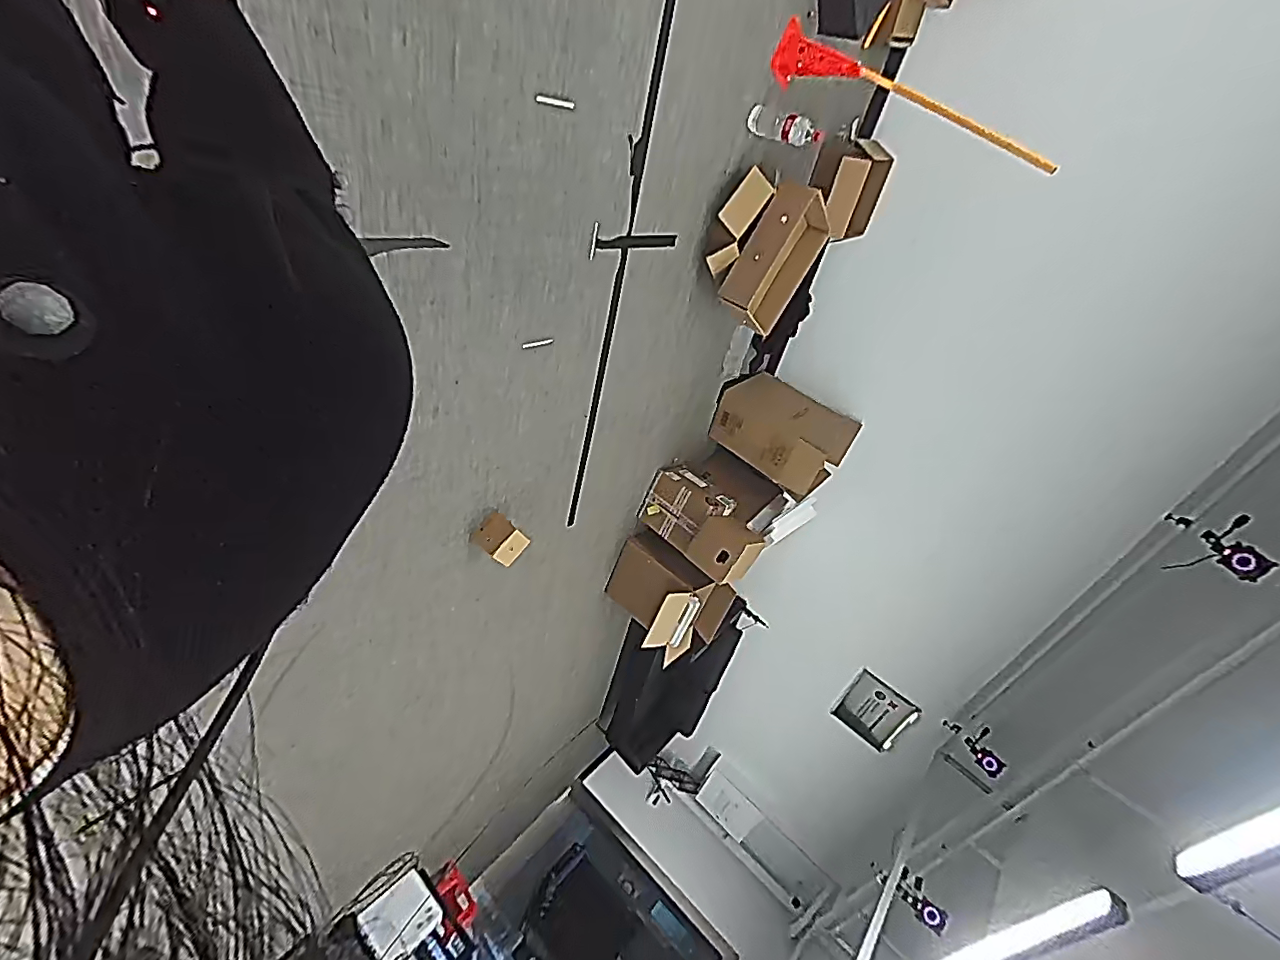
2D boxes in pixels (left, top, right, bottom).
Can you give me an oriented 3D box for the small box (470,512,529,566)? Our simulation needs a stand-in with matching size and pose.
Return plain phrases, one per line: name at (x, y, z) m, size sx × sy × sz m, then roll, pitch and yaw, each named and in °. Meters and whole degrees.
small box at (-0.660, 0.274, 2.535) m, size 0.168 × 0.176 × 0.179 m, roll -48°, pitch 155°, yaw -11°
